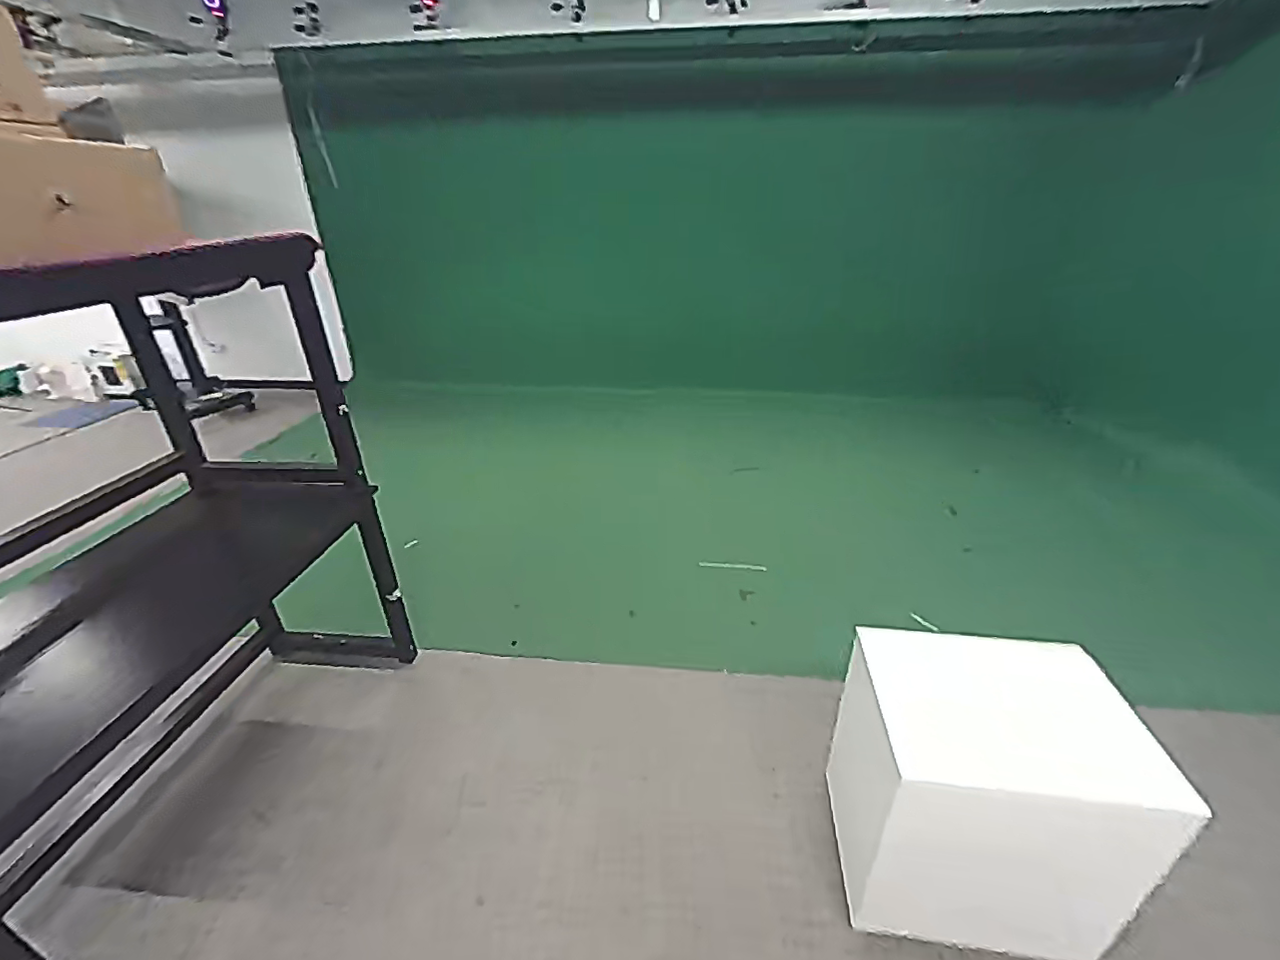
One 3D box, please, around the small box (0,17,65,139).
[{"bbox_3d":[-1.138,-0.666,0.889,0.179,0.176,0.168,2,29,8],"label":"small box"}]
